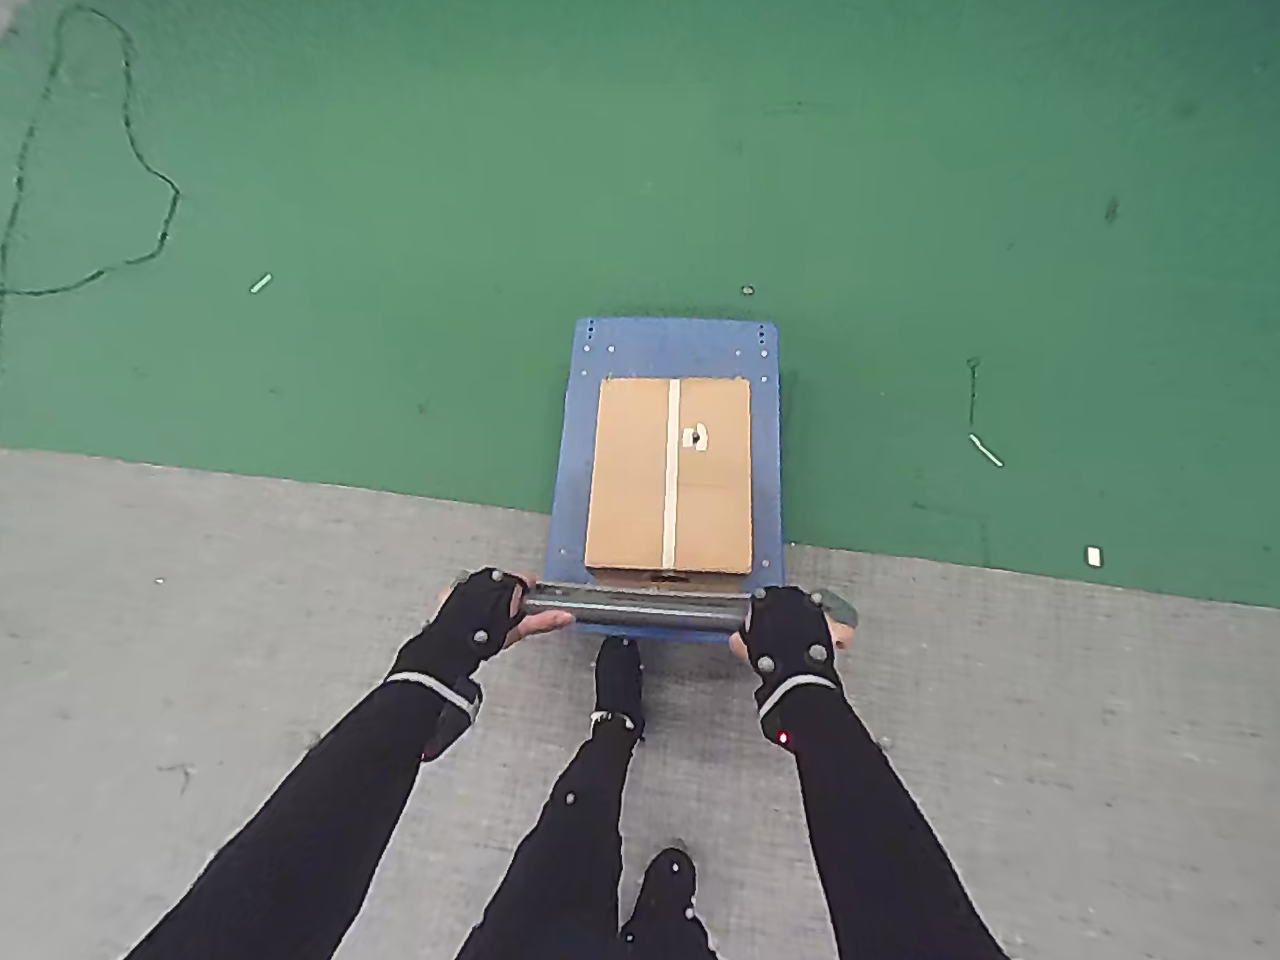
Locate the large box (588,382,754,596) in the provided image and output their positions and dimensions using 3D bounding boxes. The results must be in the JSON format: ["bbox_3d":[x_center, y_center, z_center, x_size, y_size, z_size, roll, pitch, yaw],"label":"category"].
[{"bbox_3d":[0.076,0.036,1.209,0.320,0.320,0.408,2,70,4],"label":"large box"}]
